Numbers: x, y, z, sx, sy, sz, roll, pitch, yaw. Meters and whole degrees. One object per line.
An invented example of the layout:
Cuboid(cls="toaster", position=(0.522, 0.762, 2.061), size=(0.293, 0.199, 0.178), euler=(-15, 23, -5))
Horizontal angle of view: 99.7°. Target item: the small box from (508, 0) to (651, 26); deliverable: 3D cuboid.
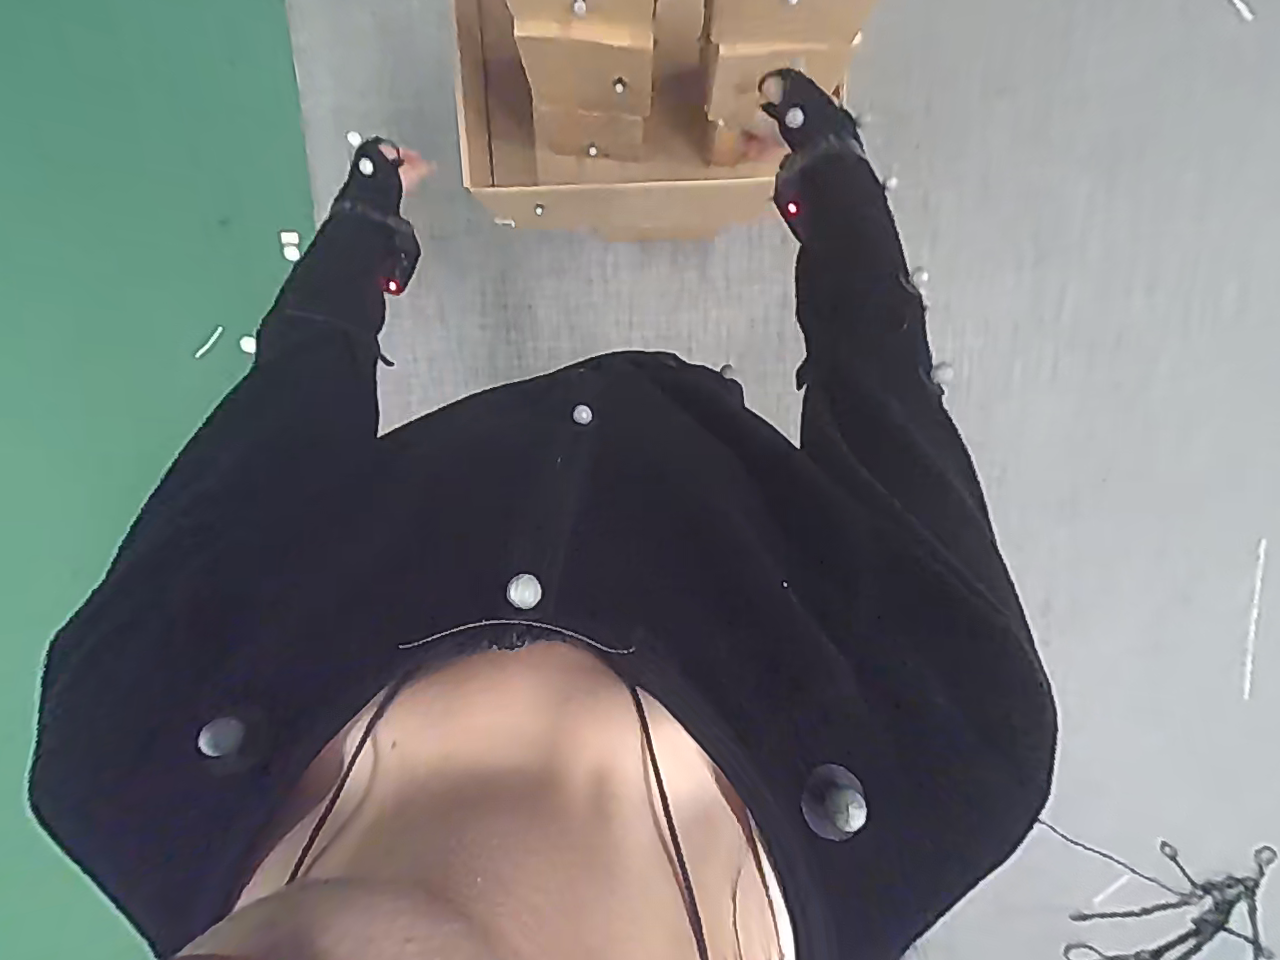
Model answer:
Cuboid(cls="small box", position=(-0.065, -0.628, 0.573), size=(0.179, 0.176, 0.168), euler=(1, 97, -3))

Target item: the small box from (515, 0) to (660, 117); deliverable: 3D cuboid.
Cuboid(cls="small box", position=(-0.063, -0.629, 0.738), size=(0.179, 0.176, 0.168), euler=(5, 98, -2))

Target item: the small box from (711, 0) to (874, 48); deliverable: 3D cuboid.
Cuboid(cls="small box", position=(0.173, -0.594, 0.567), size=(0.179, 0.176, 0.168), euler=(2, 99, 3))
